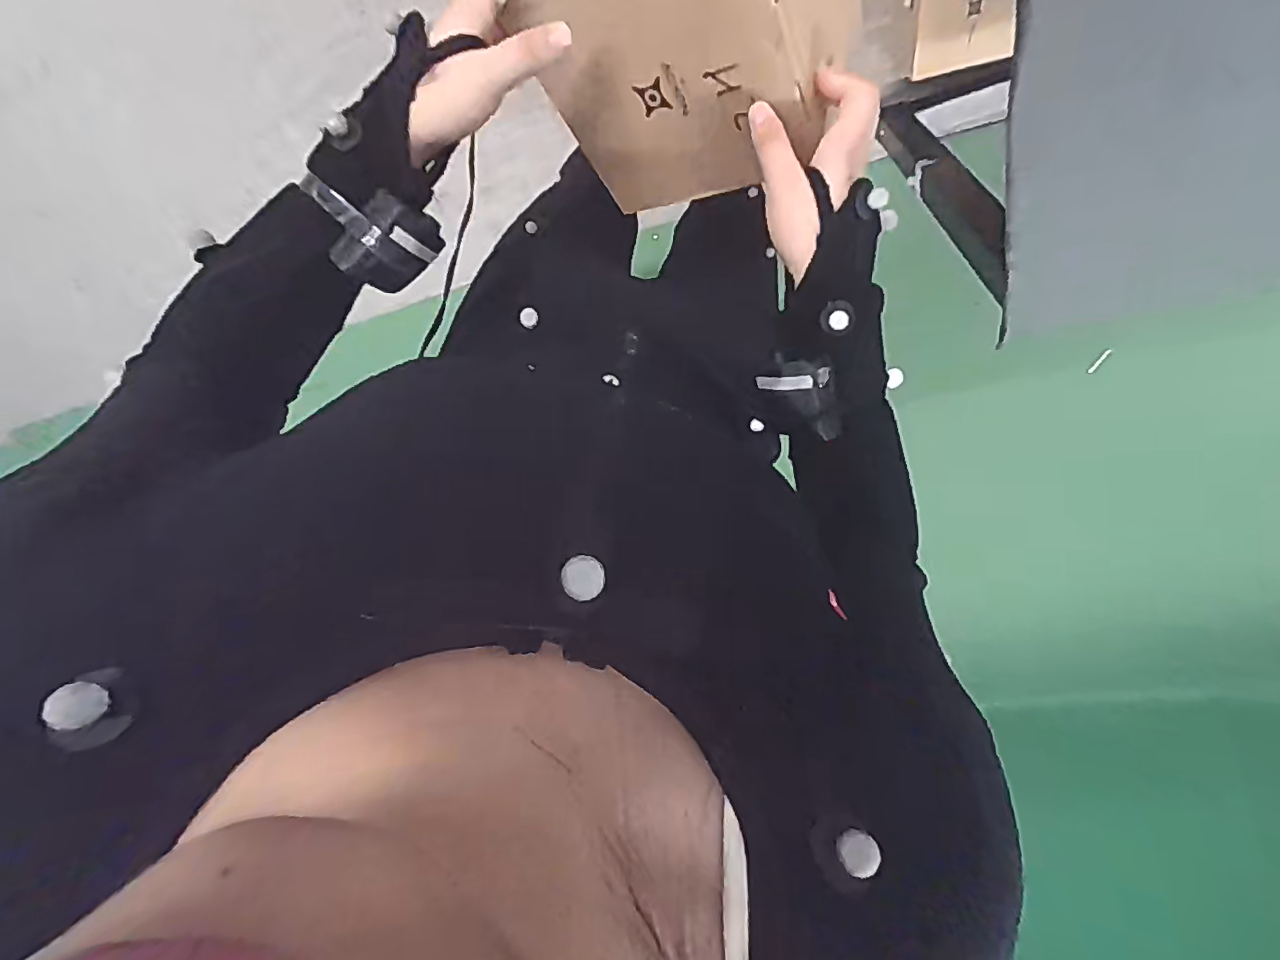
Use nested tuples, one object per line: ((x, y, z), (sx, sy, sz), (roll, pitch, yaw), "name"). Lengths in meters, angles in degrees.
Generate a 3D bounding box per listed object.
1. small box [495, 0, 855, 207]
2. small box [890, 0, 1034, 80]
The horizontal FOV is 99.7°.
((0.039, -0.336, 0.383), (0.179, 0.176, 0.168), (6, 158, 35), "small box")
((0.516, -0.788, 0.873), (0.168, 0.176, 0.179), (-6, 137, 13), "small box")
